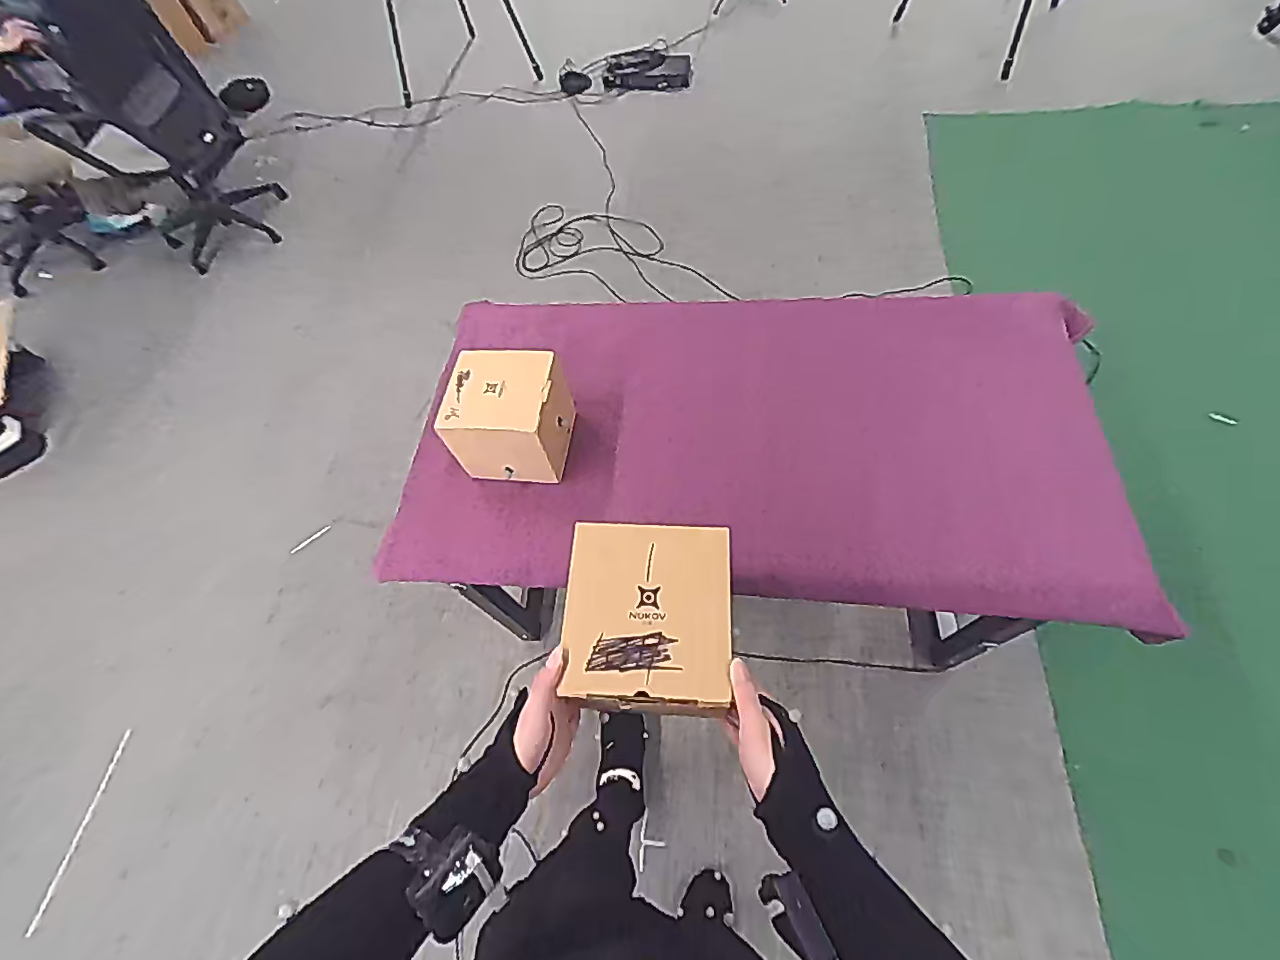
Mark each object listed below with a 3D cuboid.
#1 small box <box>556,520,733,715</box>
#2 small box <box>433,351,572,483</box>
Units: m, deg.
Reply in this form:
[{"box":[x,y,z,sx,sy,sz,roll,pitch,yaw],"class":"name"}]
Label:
[{"box":[0.014,0.159,0.600,0.168,0.176,0.179,2,62,4],"class":"small box"},{"box":[-0.227,-0.105,0.952,0.179,0.176,0.168,4,61,8],"class":"small box"}]
